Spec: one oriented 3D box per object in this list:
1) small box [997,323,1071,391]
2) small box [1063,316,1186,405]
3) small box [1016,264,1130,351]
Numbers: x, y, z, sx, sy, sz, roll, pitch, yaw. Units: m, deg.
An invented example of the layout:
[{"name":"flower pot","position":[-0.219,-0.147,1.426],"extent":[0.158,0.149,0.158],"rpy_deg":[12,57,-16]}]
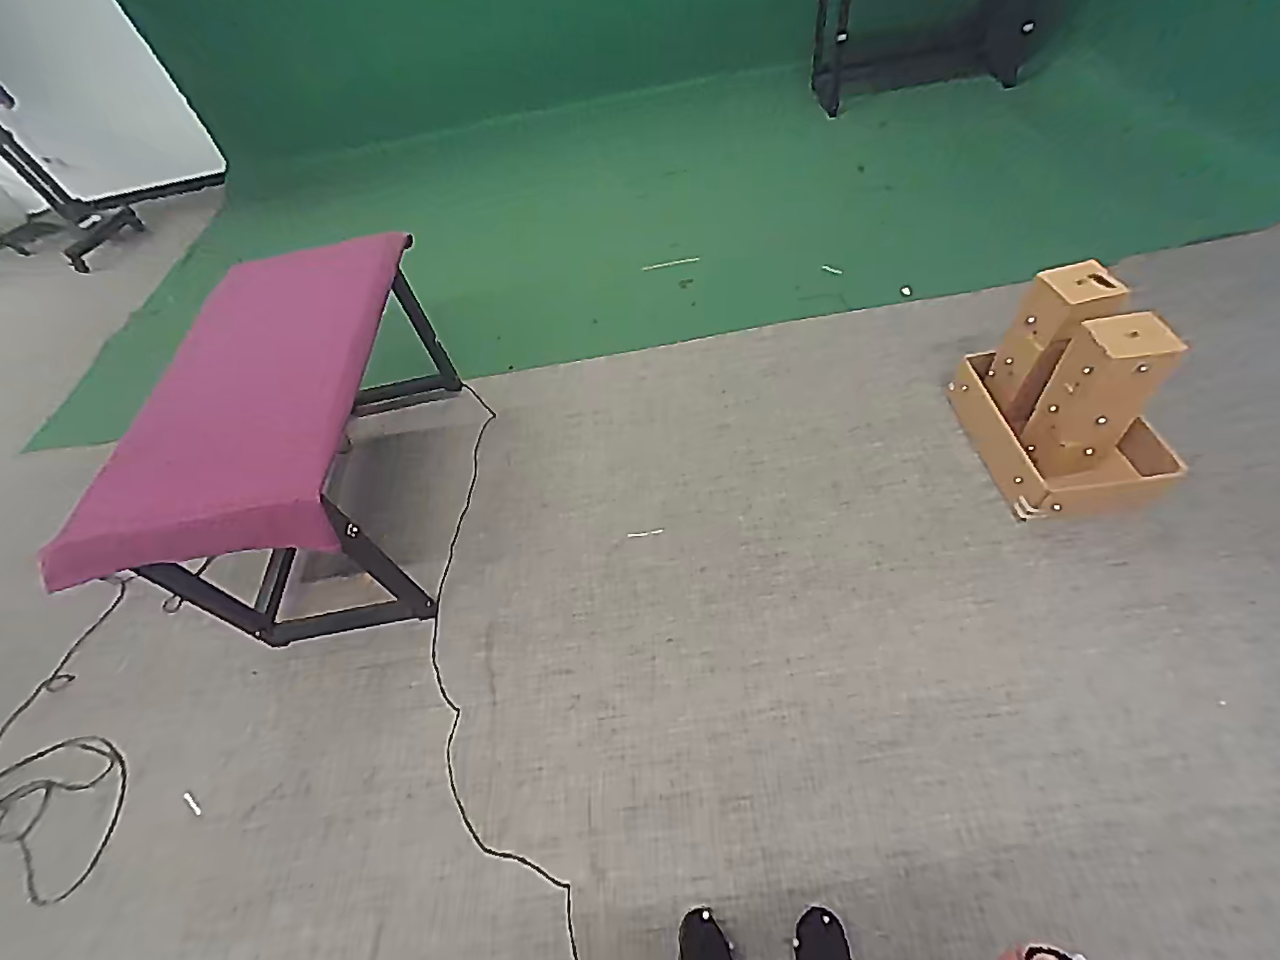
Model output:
[{"name":"small box","position":[1.312,-0.411,1.757],"extent":[0.179,0.176,0.168],"rpy_deg":[-8,53,4]},{"name":"small box","position":[1.314,-0.324,1.488],"extent":[0.179,0.176,0.168],"rpy_deg":[-6,51,7]},{"name":"small box","position":[1.294,-0.516,1.631],"extent":[0.179,0.176,0.168],"rpy_deg":[-13,53,1]}]
